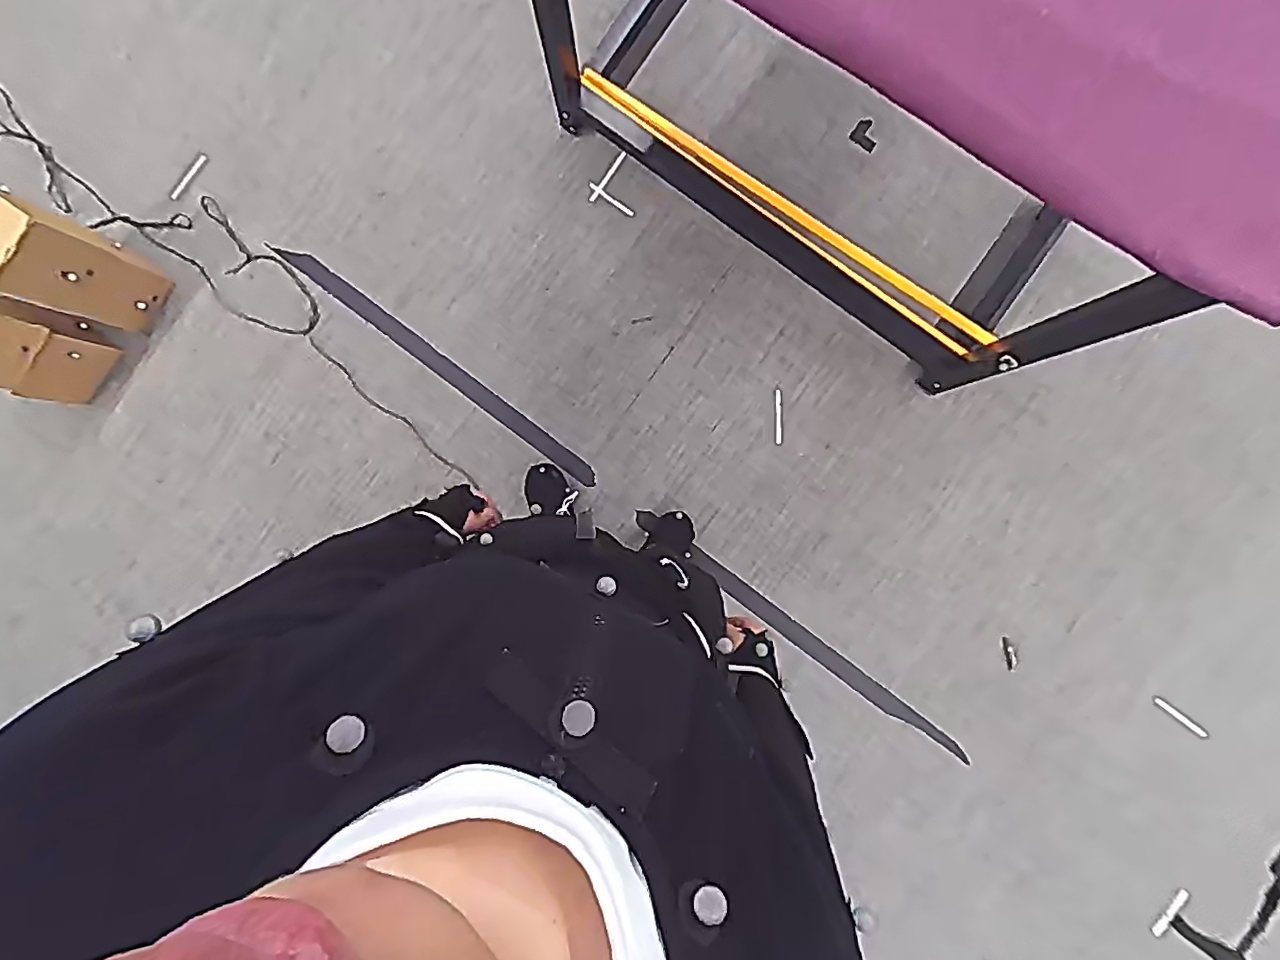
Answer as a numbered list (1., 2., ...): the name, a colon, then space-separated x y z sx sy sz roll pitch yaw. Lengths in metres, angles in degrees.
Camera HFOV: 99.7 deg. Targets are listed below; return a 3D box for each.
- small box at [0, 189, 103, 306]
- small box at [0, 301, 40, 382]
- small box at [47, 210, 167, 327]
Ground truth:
1. small box: -1.309 -0.493 1.127 0.179 0.176 0.168 34 90 -1
2. small box: -1.445 -0.315 1.129 0.179 0.176 0.168 31 90 1
3. small box: -1.311 -0.492 1.292 0.179 0.176 0.168 36 90 -1
